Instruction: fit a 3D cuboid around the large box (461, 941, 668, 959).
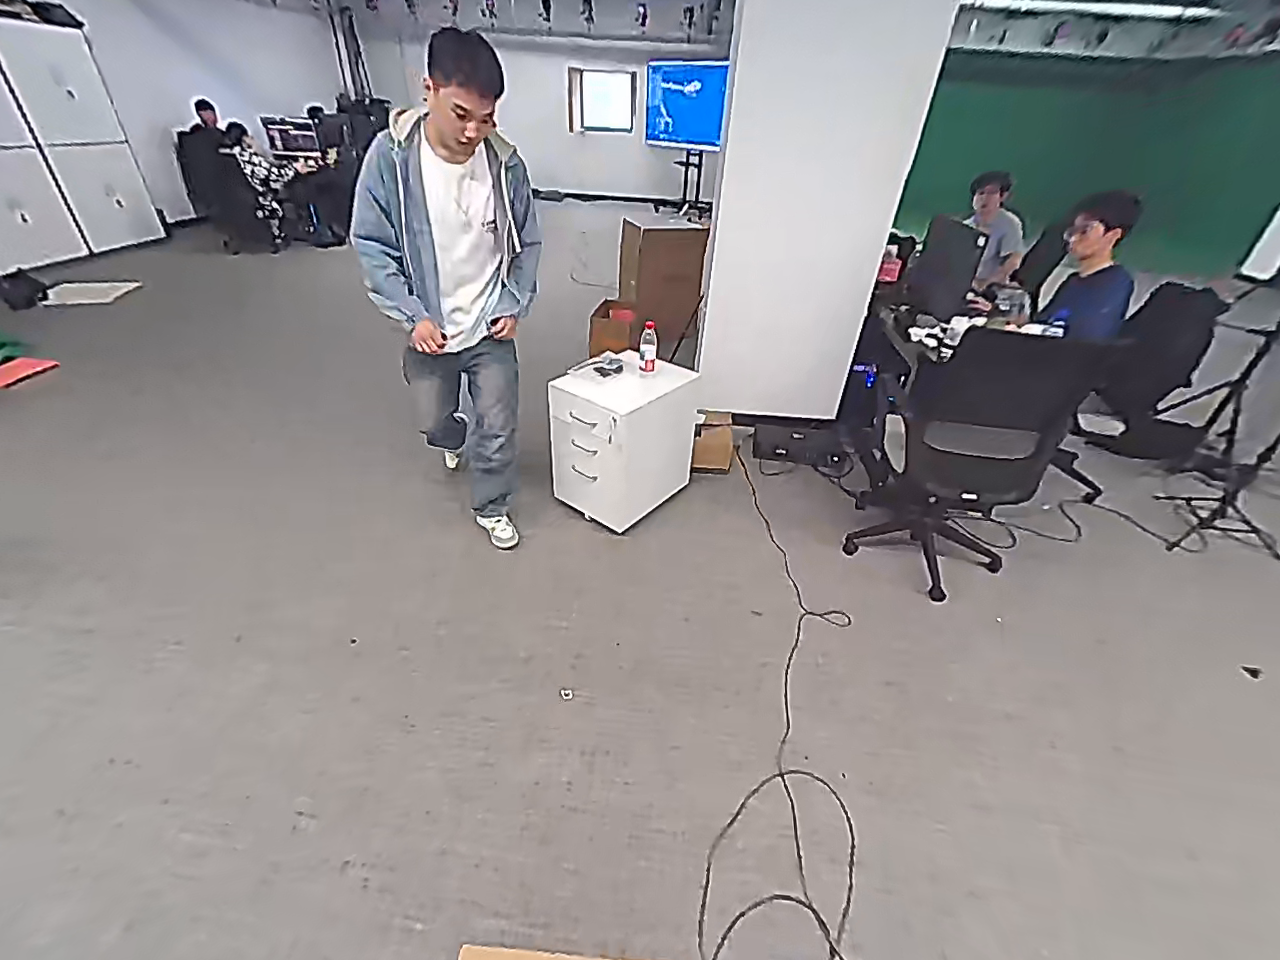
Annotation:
[{"bbox_3d":[-0.132,1.042,0.909,0.408,0.320,0.320,5,34,1],"label":"large box"}]
